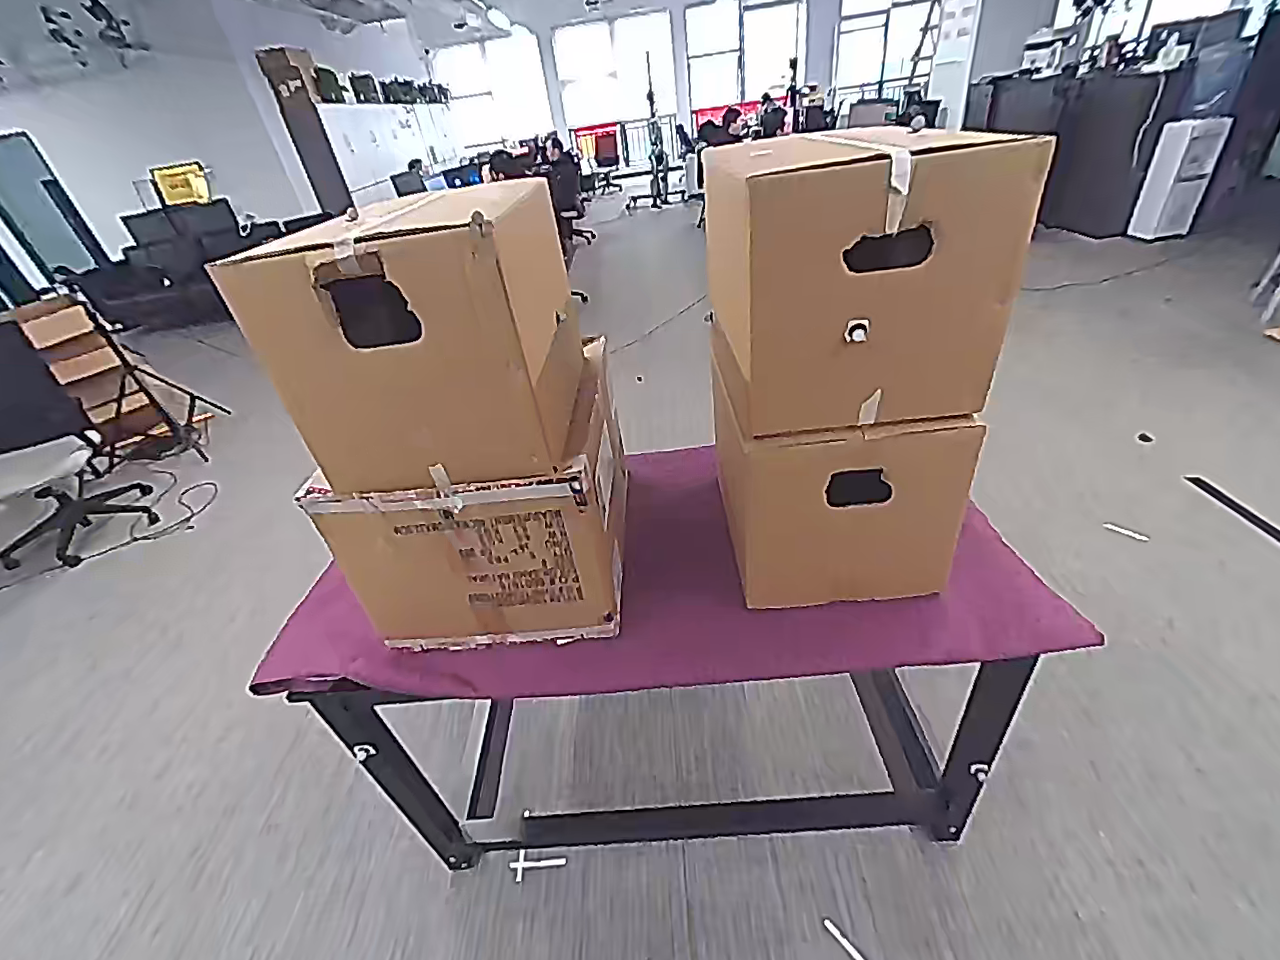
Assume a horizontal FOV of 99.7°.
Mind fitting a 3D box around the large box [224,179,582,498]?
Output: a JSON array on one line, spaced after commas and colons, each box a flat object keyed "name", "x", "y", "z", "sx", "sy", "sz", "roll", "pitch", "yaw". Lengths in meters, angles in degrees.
[{"name": "large box", "x": -0.271, "y": -0.226, "z": 0.798, "sx": 0.320, "sy": 0.320, "sz": 0.408, "roll": -8, "pitch": 35, "yaw": 4}]
